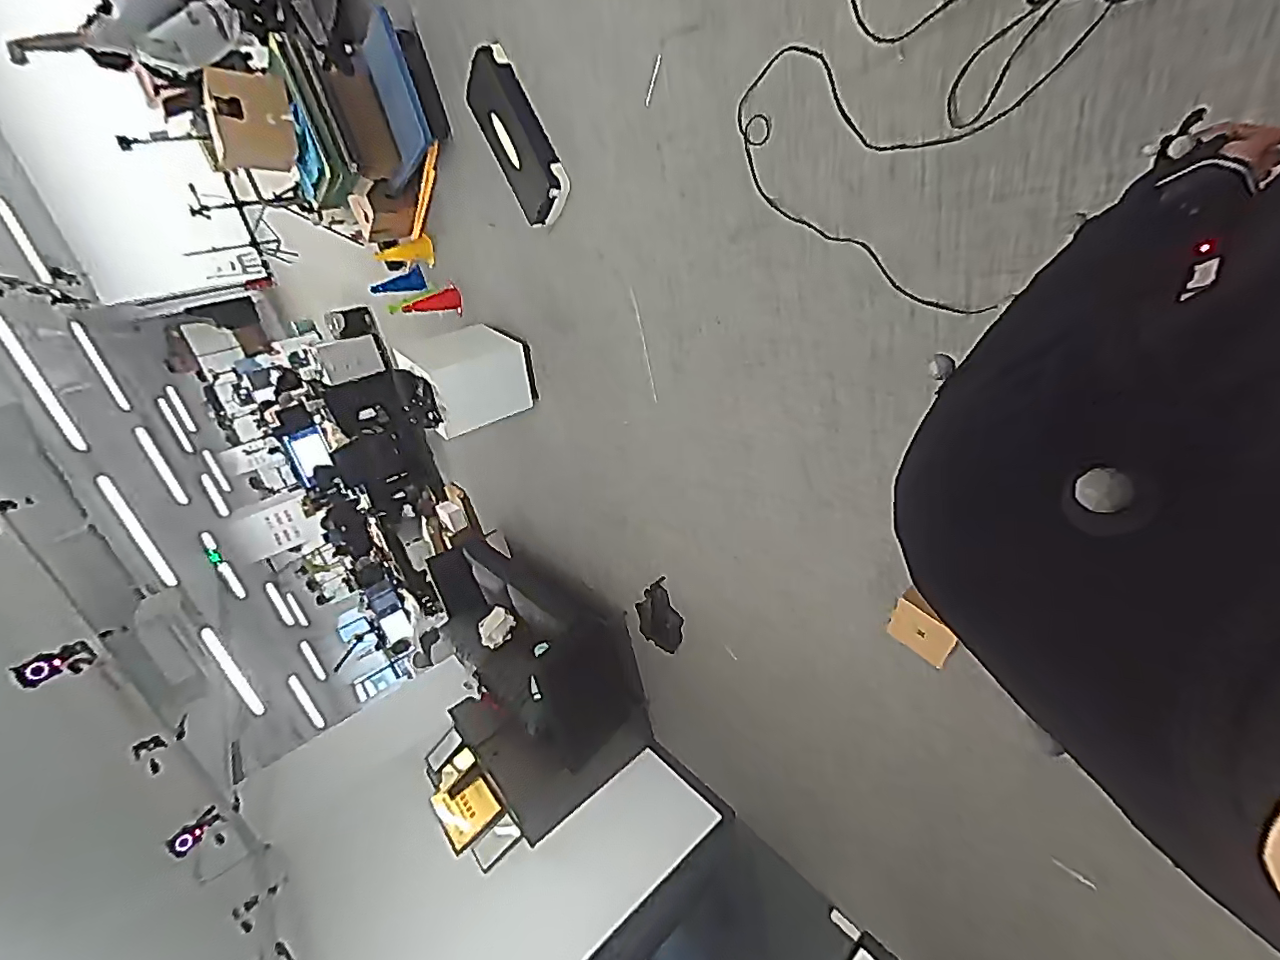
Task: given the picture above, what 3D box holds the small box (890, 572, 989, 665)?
[{"bbox_3d":[0.876,0.396,1.585,0.179,0.176,0.168,35,141,37],"label":"small box"}]
